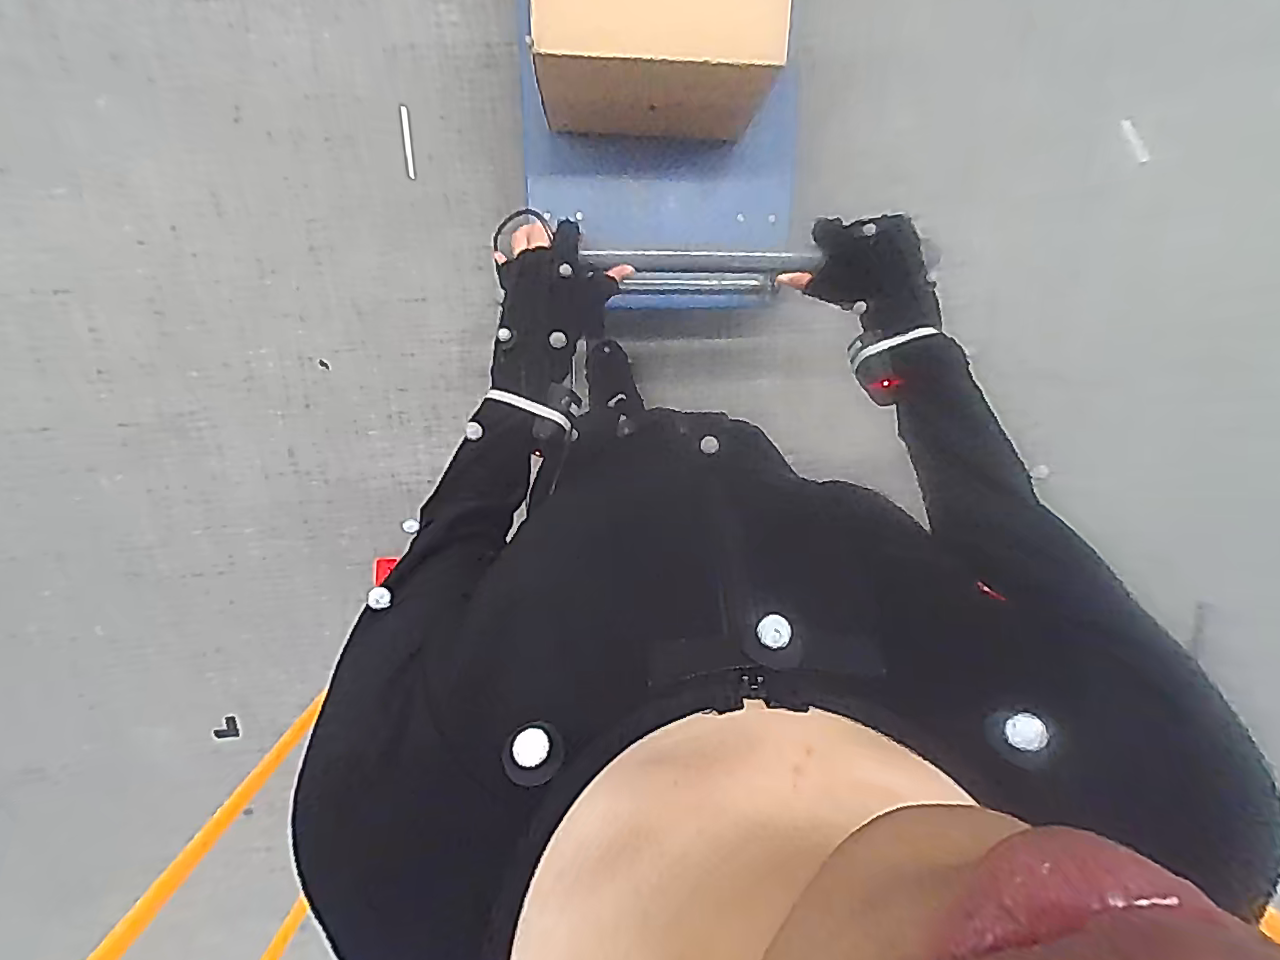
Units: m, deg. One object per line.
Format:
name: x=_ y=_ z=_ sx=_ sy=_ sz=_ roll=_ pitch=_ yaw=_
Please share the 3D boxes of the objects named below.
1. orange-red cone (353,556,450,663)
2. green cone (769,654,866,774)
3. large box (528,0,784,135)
orange-red cone: x=-0.618 y=0.342 z=1.337 sx=0.198 sy=0.360 sz=0.199 roll=4 pitch=101 yaw=-6
green cone: x=0.508 y=0.661 z=1.481 sx=0.202 sy=0.368 sz=0.200 roll=0 pitch=103 yaw=-5
large box: x=0.021 y=-0.844 z=0.964 sx=0.408 sy=0.320 sz=0.320 roll=0 pitch=103 yaw=-3
